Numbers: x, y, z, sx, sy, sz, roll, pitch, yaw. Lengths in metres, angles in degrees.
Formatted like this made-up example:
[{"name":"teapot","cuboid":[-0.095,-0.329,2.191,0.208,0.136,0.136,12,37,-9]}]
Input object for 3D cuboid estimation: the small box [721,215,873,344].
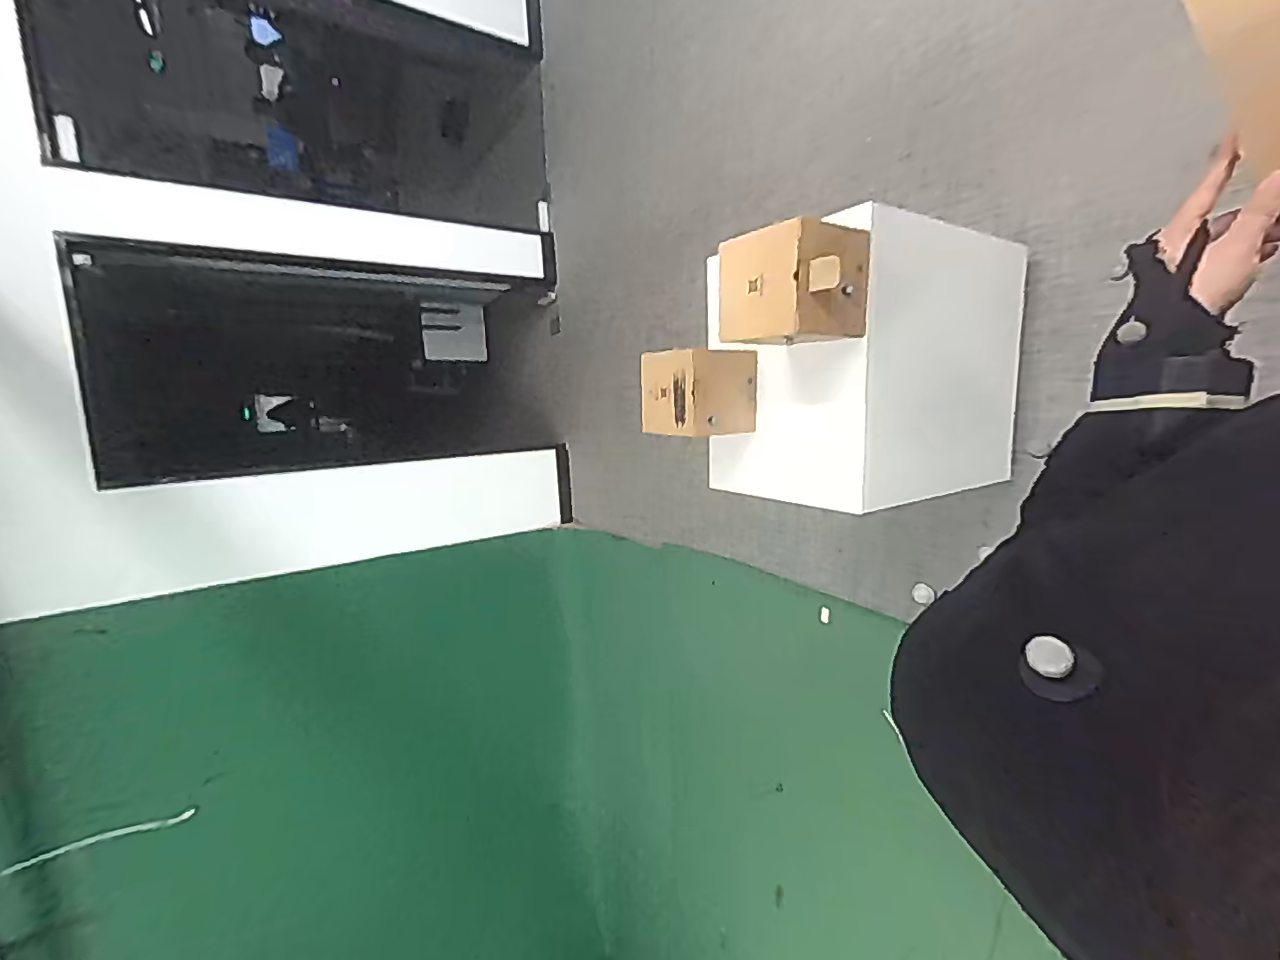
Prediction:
[{"name":"small box","cuboid":[0.255,-0.317,0.895,0.179,0.176,0.168,13,107,56]}]
